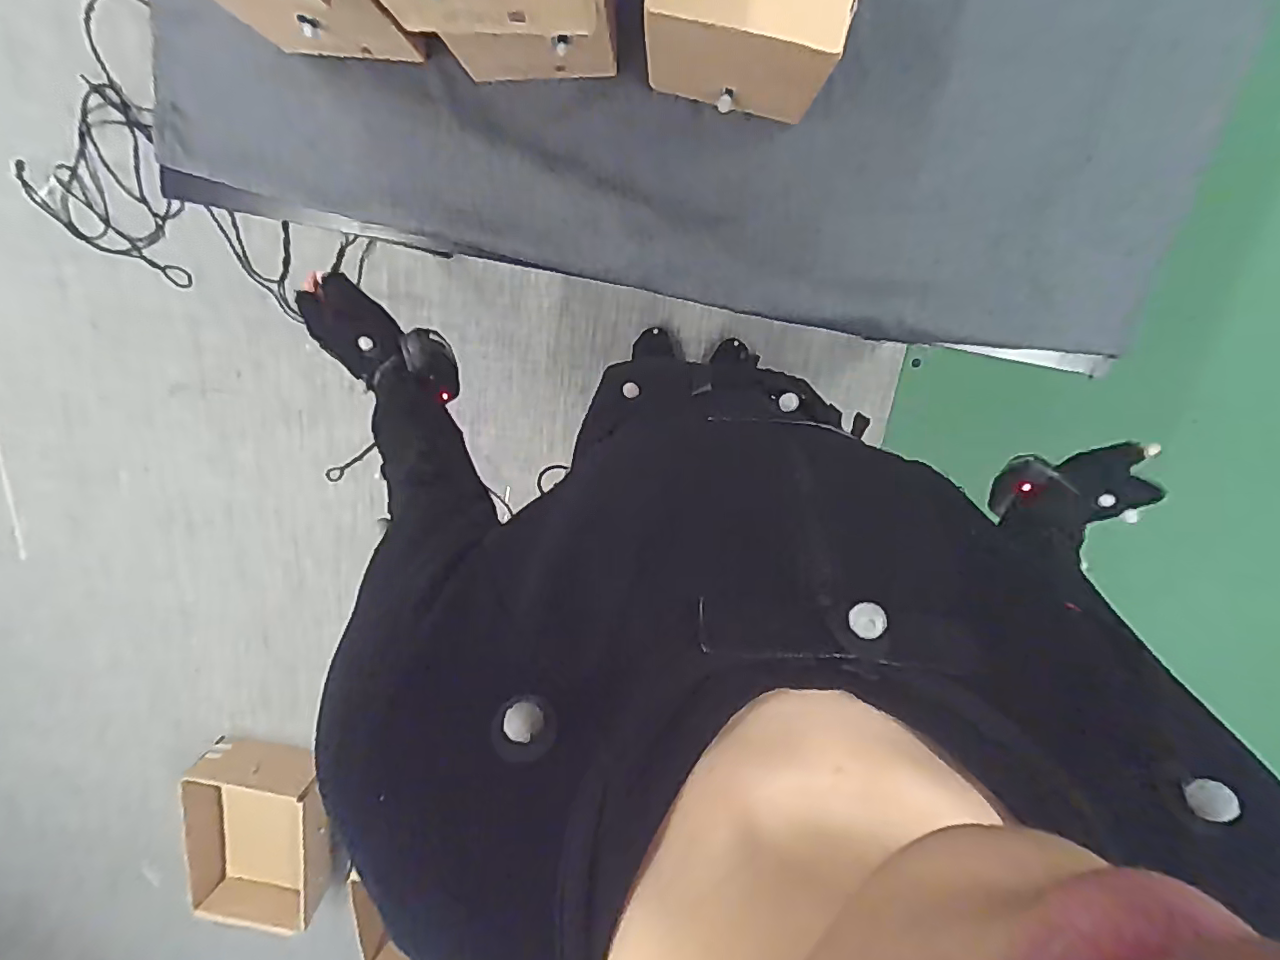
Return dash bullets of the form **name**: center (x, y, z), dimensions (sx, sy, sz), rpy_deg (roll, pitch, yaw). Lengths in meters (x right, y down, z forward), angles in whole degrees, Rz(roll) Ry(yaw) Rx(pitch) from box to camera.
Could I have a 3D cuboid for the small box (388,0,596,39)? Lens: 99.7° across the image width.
- **small box**: center (-0.120, -0.441, 0.370), dimensions (0.168, 0.176, 0.179), rpy_deg (2, 106, 1)
